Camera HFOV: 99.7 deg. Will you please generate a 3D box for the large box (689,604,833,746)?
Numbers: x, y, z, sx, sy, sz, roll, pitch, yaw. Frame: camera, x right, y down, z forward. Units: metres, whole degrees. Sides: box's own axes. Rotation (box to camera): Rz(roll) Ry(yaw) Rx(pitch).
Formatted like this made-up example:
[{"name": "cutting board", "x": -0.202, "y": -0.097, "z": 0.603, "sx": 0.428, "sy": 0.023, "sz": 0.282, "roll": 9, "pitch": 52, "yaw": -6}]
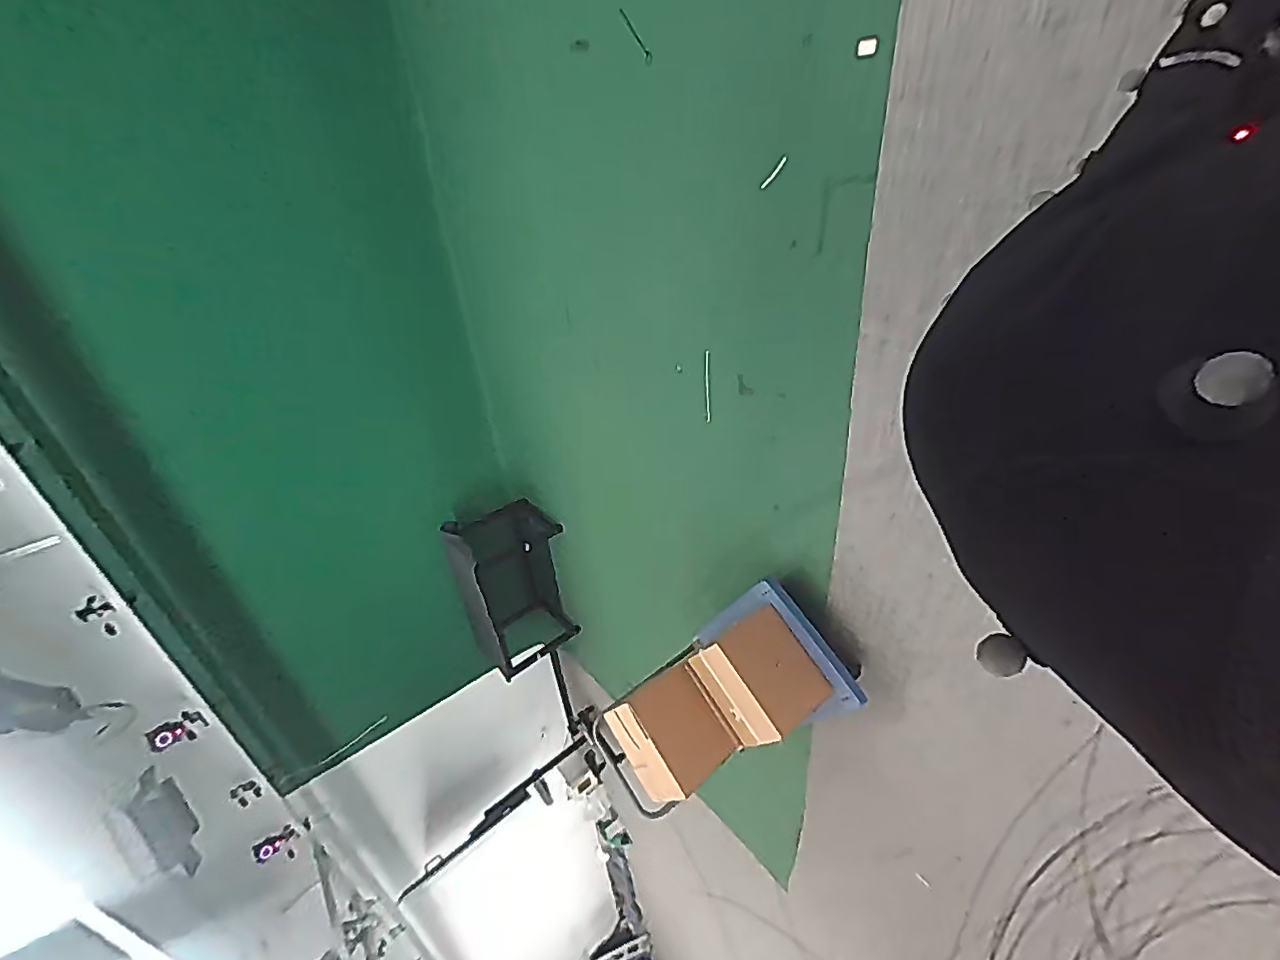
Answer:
[{"name": "large box", "x": 0.472, "y": 0.776, "z": 2.161, "sx": 0.408, "sy": 0.320, "sz": 0.320, "roll": 54, "pitch": 149, "yaw": 15}]
